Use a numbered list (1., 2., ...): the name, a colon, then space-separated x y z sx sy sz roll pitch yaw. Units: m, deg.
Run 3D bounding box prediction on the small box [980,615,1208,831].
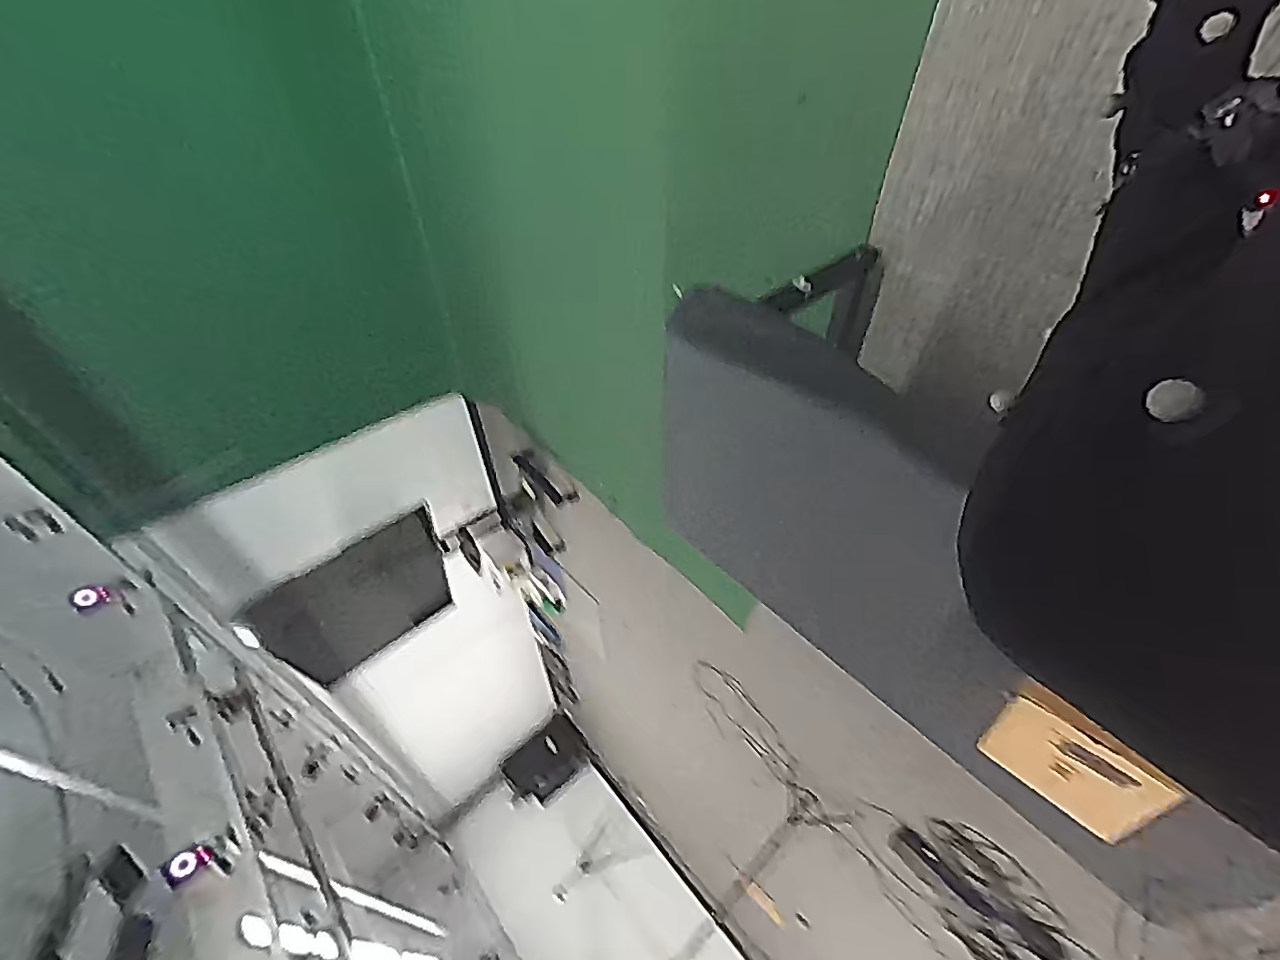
1. small box: 0.606 0.318 0.730 0.168 0.176 0.179 35 148 37
